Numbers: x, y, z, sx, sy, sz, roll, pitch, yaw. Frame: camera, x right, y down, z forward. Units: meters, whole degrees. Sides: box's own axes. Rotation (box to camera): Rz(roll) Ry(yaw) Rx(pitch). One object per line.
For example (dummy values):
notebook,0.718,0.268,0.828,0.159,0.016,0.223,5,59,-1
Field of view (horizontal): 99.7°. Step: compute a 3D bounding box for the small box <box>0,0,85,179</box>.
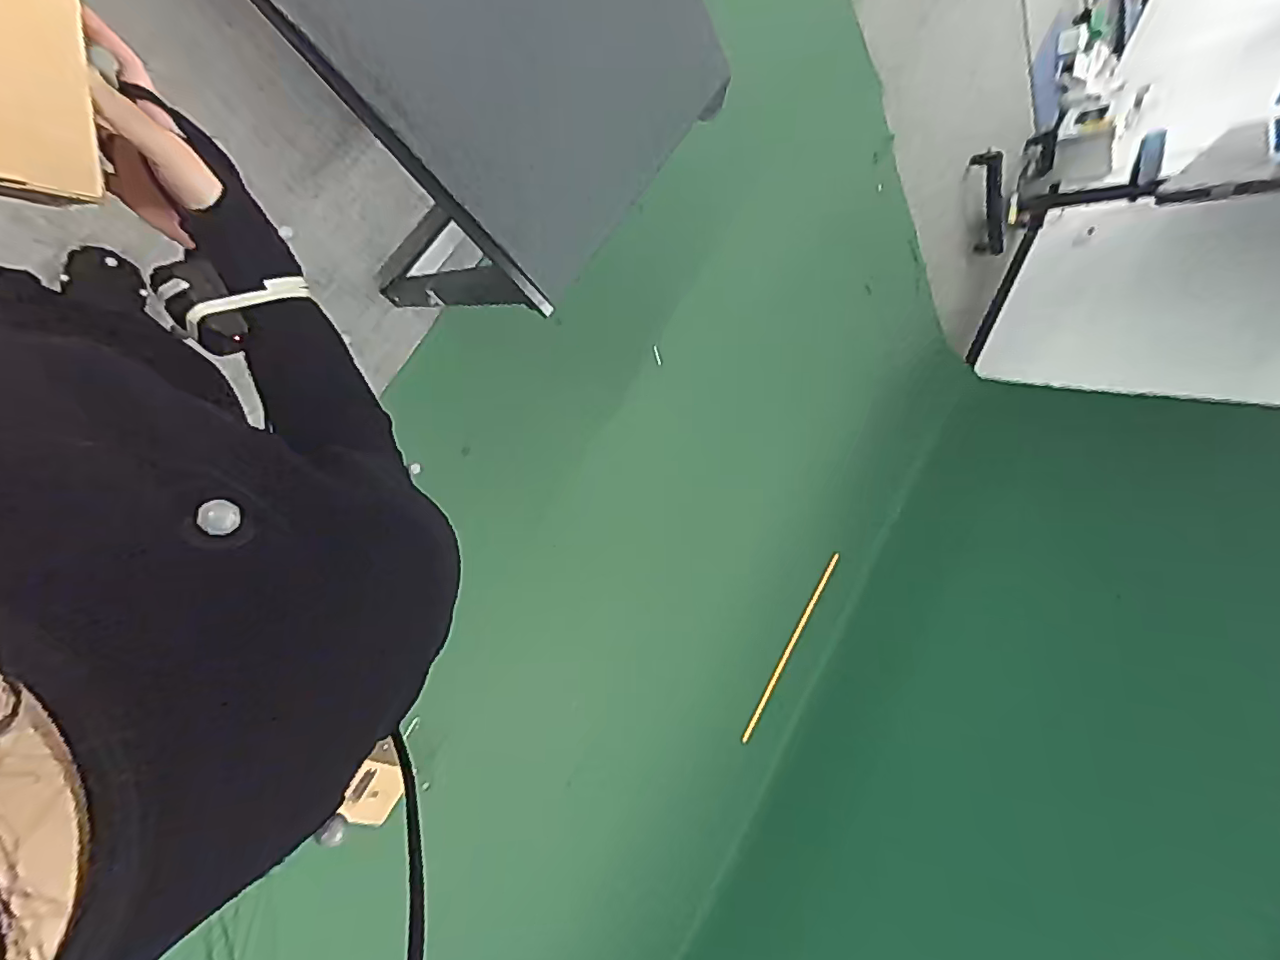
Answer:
small box,-0.400,-0.259,0.251,0.168,0.176,0.179,-13,119,-51
